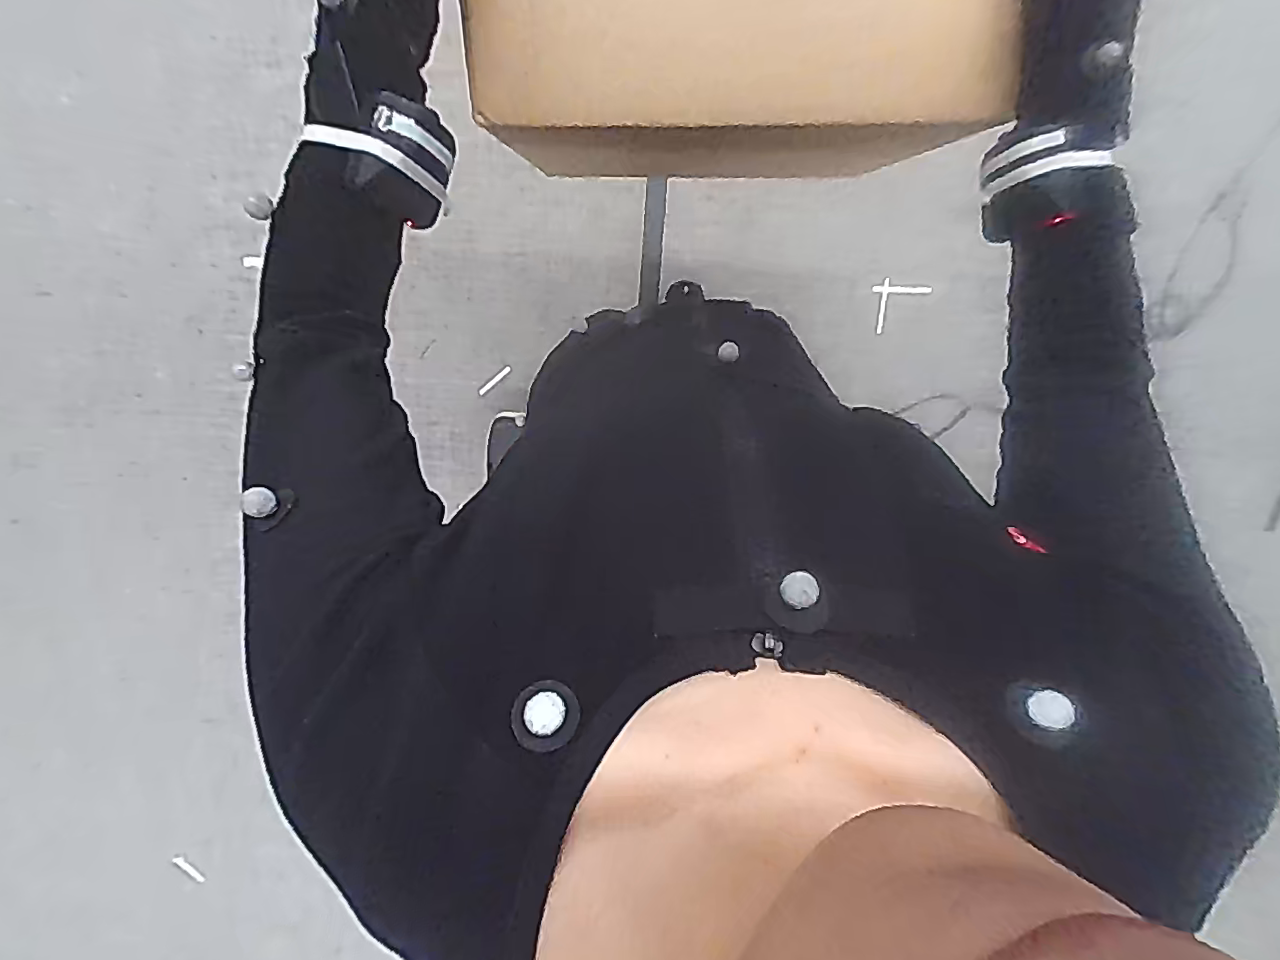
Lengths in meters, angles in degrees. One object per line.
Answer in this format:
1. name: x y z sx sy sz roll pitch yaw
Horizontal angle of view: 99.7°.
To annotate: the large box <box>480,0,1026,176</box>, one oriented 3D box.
1. large box: 0.078 -0.479 0.495 0.408 0.320 0.320 -1 113 0
